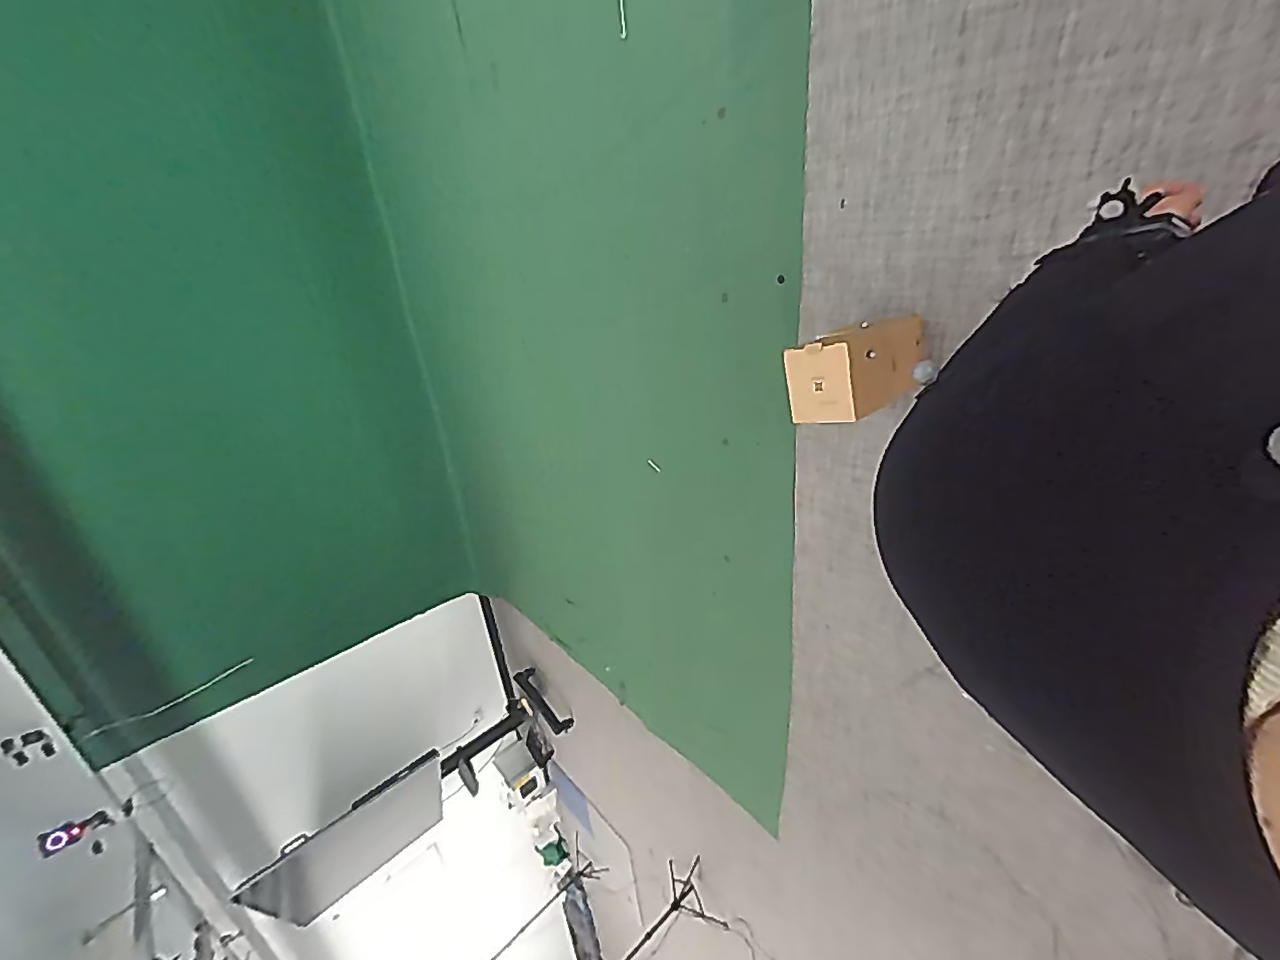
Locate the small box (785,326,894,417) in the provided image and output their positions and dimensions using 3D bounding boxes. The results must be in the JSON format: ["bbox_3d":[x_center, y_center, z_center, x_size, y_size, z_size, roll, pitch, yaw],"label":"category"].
[{"bbox_3d":[0.464,-0.252,1.249,0.168,0.176,0.179,7,116,52],"label":"small box"}]

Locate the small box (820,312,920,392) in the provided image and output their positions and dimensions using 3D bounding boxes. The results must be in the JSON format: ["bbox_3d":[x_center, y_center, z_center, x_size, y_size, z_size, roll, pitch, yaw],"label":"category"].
[{"bbox_3d":[0.578,-0.314,1.346,0.179,0.176,0.168,10,118,51],"label":"small box"}]
